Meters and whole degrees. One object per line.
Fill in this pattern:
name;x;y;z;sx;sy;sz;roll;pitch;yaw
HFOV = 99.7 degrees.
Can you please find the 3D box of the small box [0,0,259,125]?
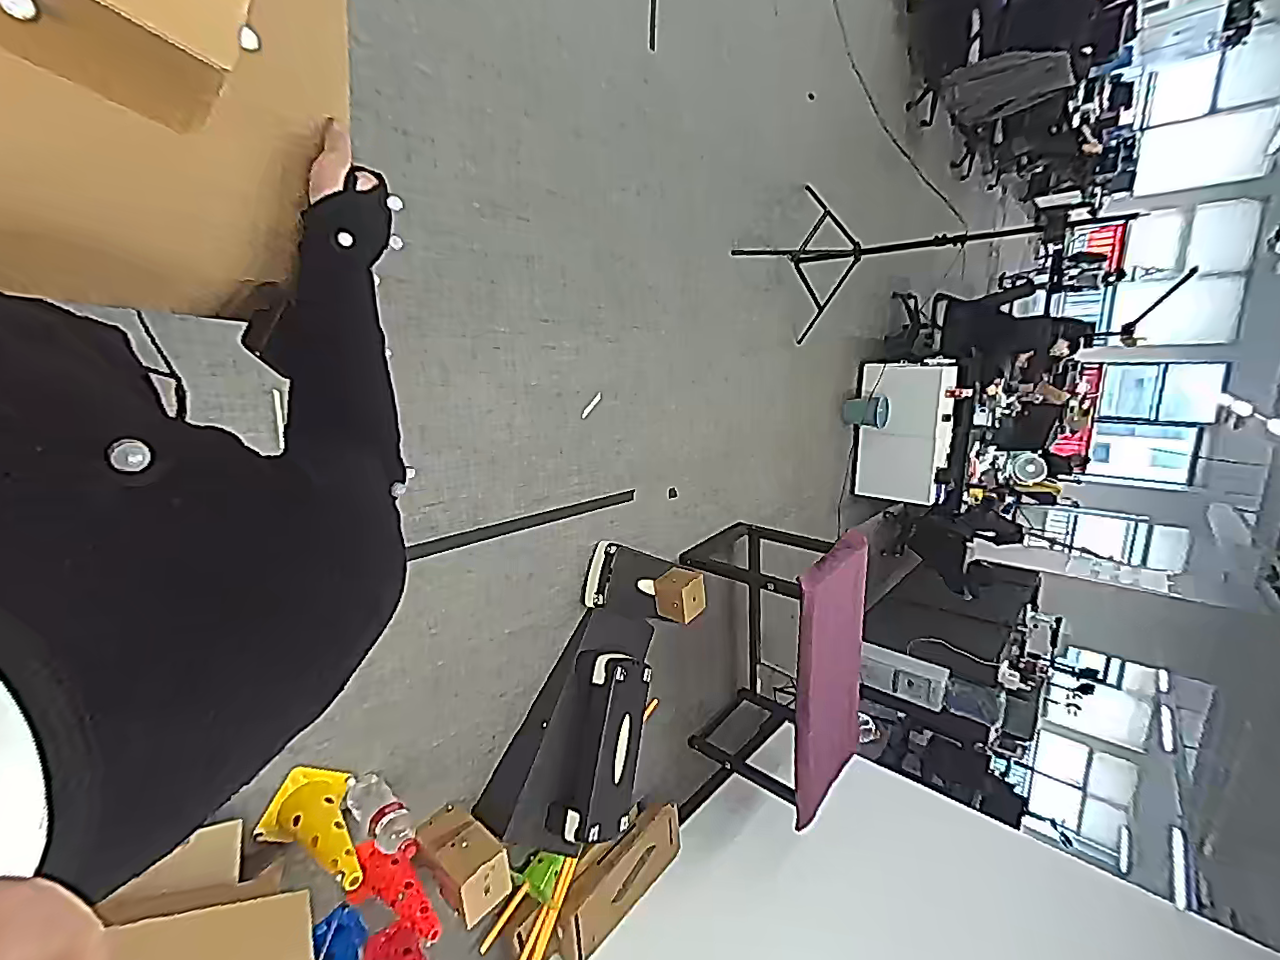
small box;-0.366;-0.372;0.356;0.179;0.176;0.168;12;92;-46
